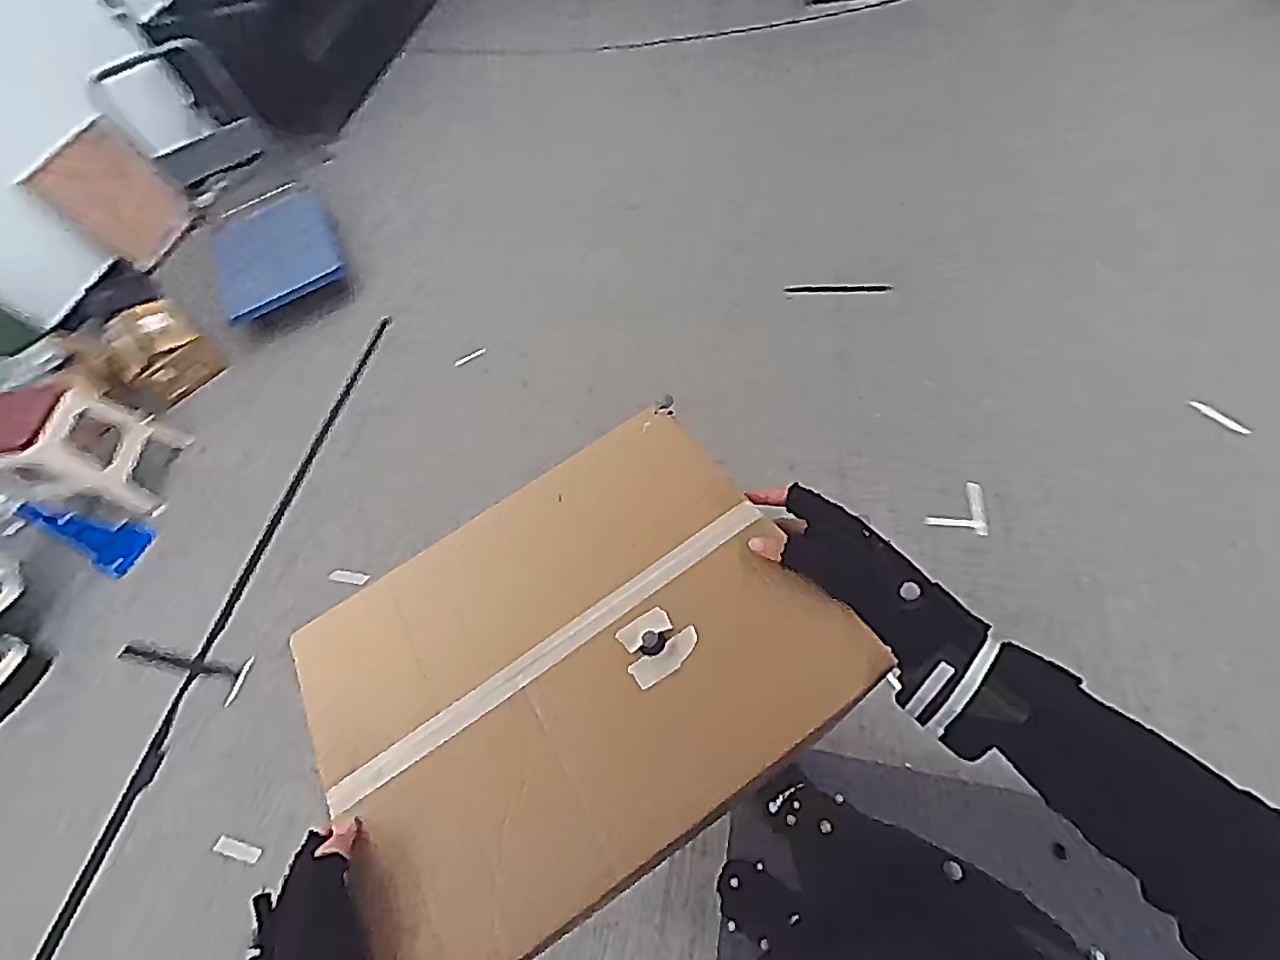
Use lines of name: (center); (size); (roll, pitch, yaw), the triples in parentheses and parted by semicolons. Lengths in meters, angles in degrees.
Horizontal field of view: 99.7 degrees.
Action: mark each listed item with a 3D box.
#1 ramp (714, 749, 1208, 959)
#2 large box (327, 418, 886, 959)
ramp: (0.672, 0.898, 1.148); (0.991, 0.206, 0.509); (3, 60, 13)
large box: (-0.026, 0.218, 0.579); (0.408, 0.320, 0.320); (-32, 58, -8)
